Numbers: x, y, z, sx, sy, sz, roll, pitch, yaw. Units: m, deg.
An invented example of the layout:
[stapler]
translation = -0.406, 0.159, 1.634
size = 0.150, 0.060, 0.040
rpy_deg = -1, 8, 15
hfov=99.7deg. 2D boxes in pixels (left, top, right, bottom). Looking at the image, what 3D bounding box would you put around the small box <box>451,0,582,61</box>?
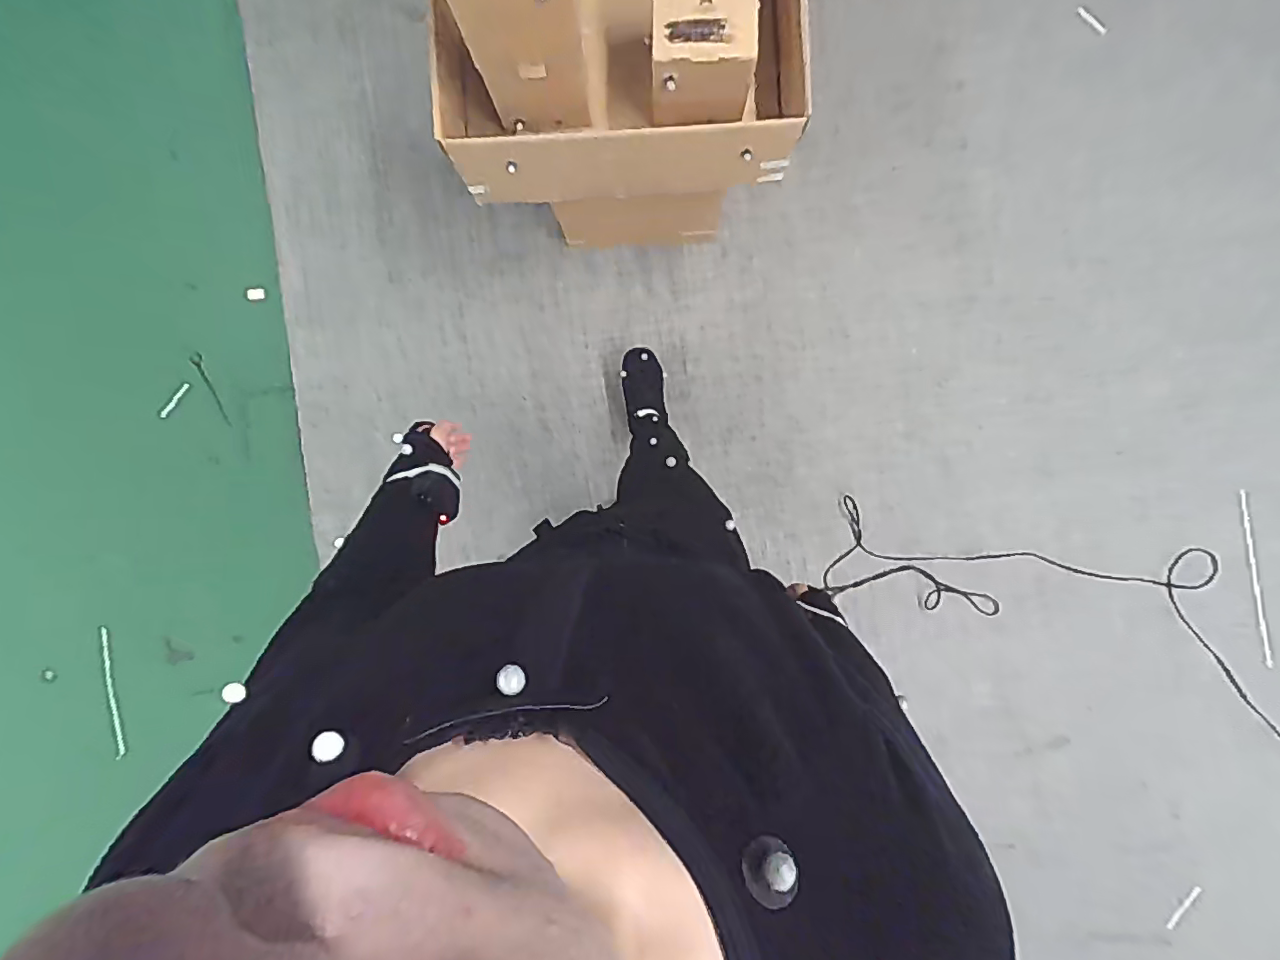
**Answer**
[small box]
translation = -0.181, -0.732, 0.760
size = 0.179, 0.176, 0.168
rpy_deg = -4, 91, -1
